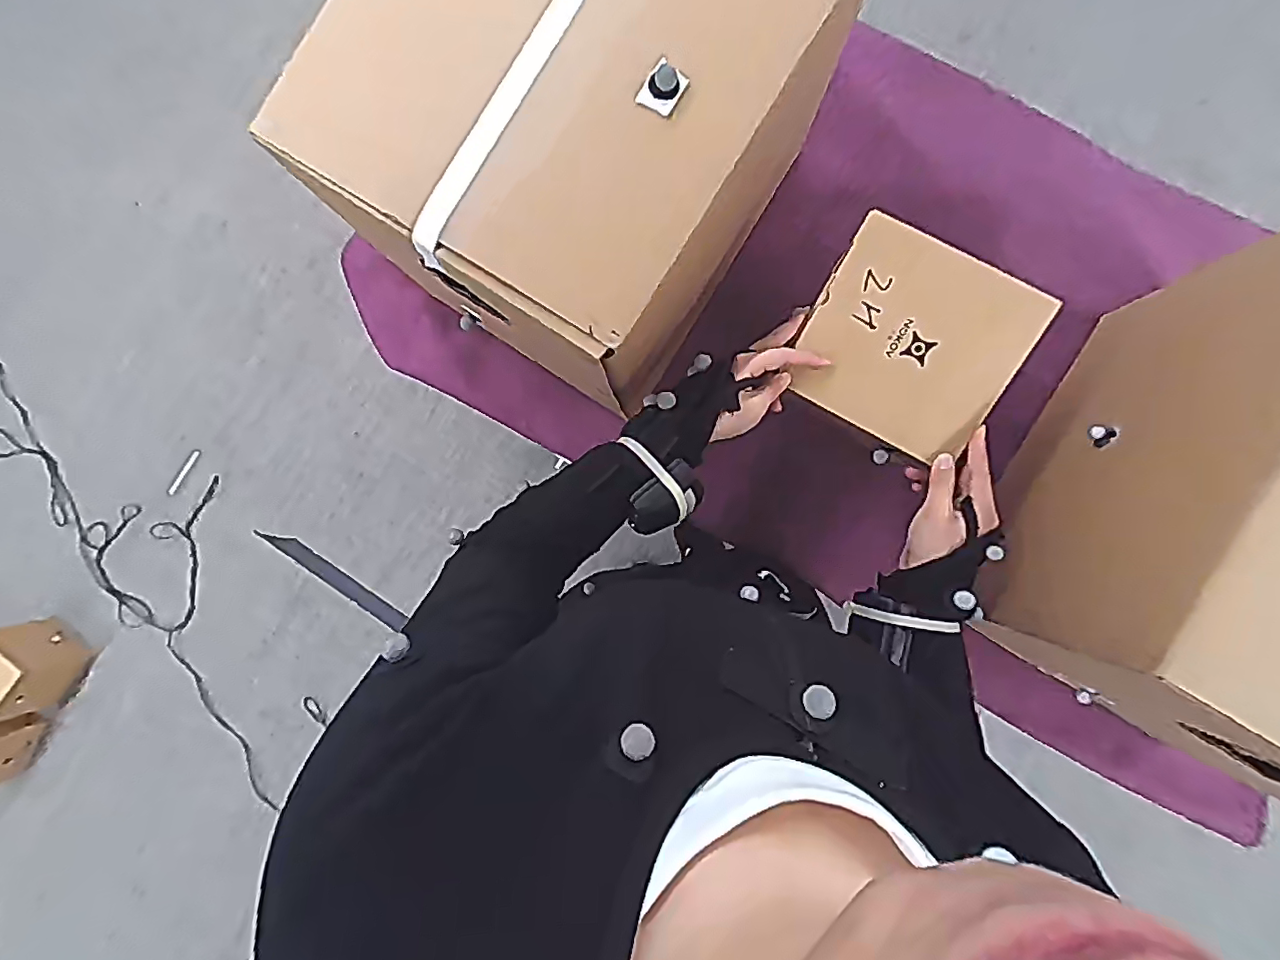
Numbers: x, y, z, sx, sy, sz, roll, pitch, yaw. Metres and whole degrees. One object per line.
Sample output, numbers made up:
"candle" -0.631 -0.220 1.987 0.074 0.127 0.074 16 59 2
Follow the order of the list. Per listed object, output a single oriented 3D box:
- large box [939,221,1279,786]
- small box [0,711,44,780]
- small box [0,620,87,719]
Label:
"large box" 0.558 0.035 0.473 0.320 0.320 0.408 31 88 4
"small box" -1.729 0.688 1.393 0.179 0.176 0.168 25 90 4
"small box" -1.605 0.490 1.390 0.168 0.176 0.179 38 90 4
